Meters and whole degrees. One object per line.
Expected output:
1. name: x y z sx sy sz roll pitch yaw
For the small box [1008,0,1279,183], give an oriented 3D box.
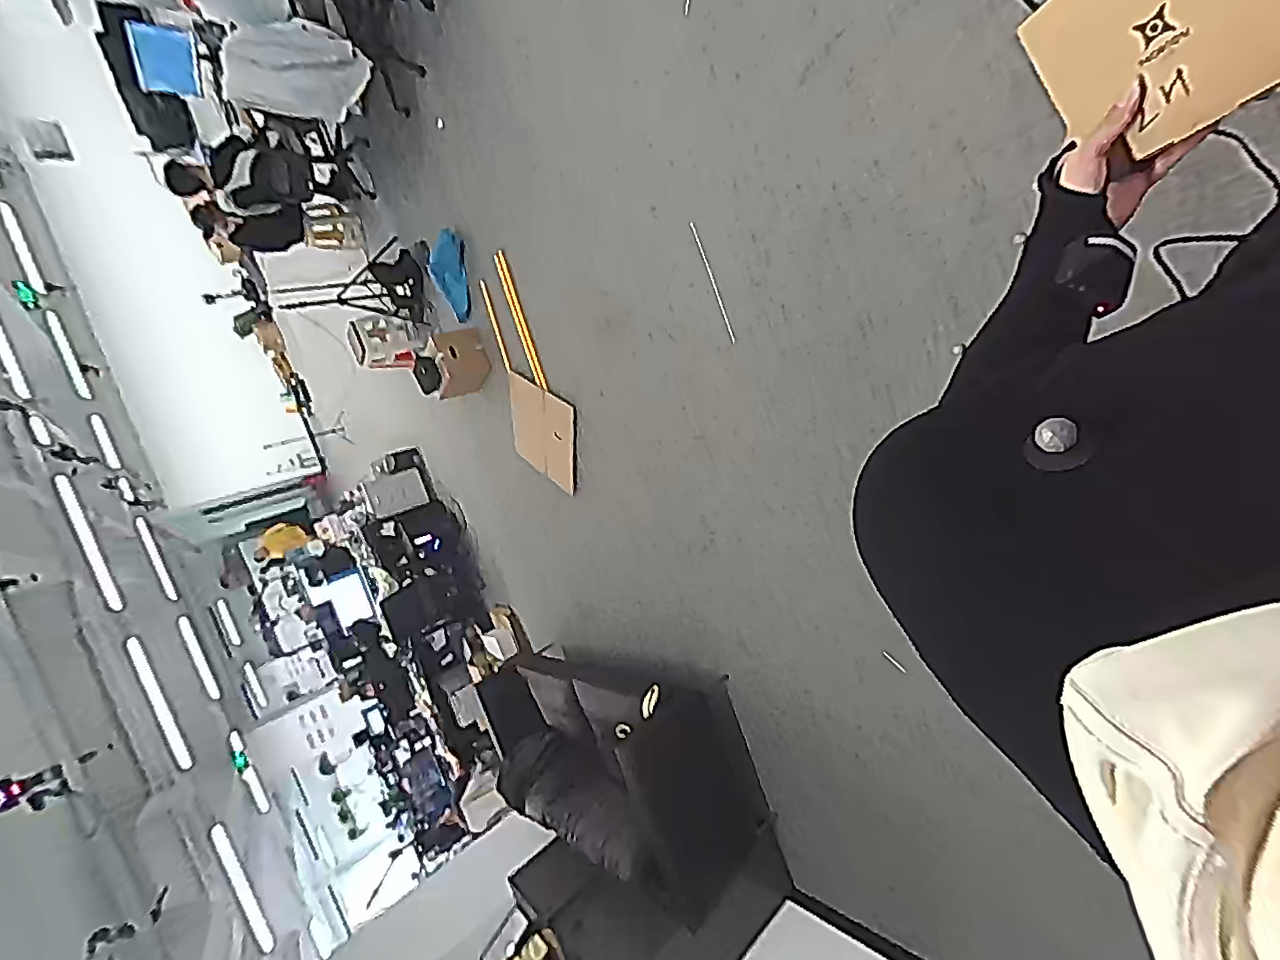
1. small box: 0.491 -0.420 0.485 0.179 0.176 0.168 55 163 -6
